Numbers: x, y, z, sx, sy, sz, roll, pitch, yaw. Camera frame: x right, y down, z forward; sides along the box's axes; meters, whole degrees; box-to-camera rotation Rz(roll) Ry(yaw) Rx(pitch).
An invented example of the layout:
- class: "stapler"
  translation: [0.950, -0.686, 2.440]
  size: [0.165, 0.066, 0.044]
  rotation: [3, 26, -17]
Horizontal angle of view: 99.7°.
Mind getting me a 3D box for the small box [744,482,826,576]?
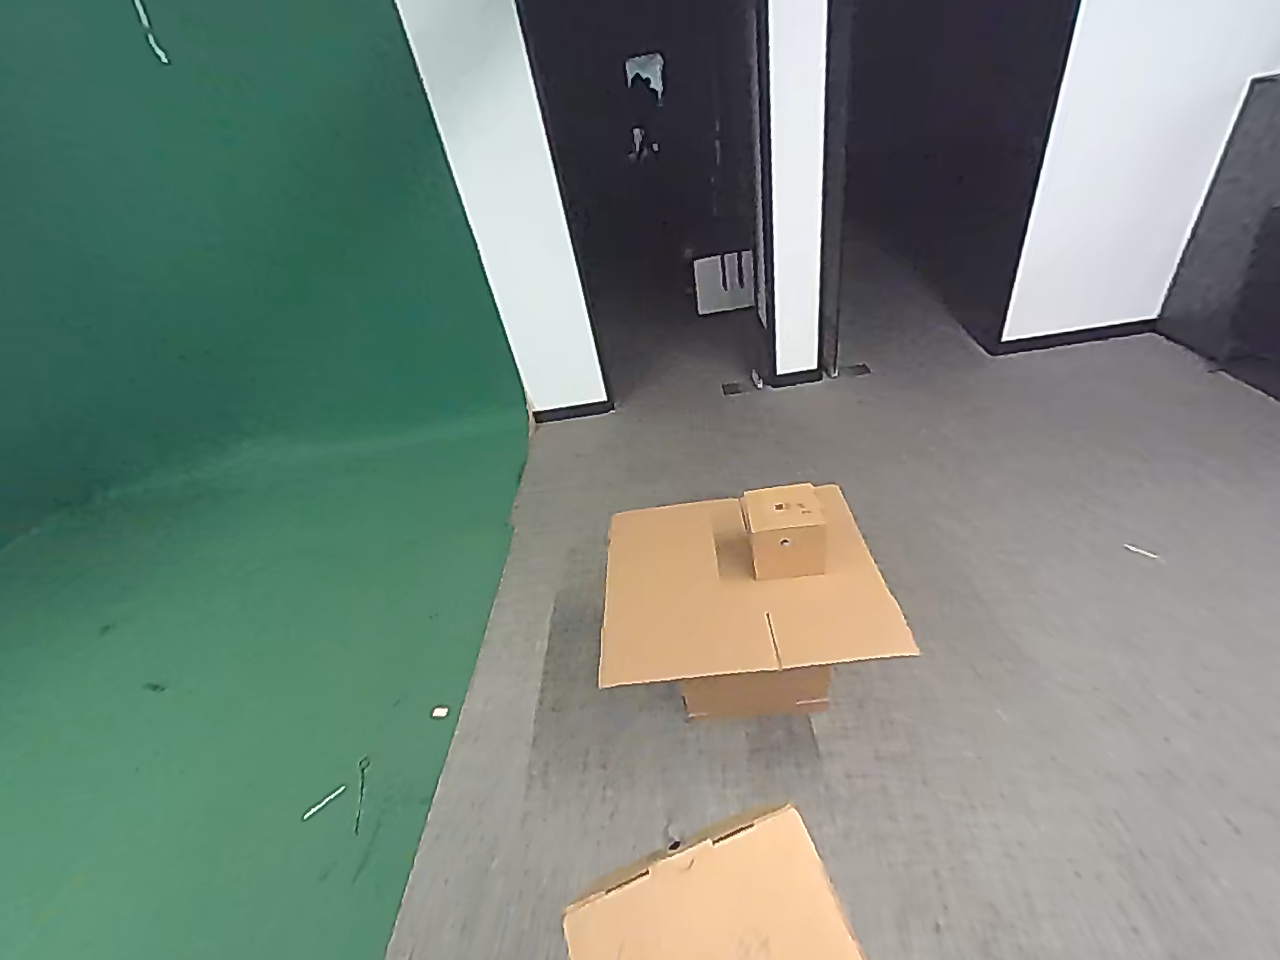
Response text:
- class: "small box"
  translation: [0.370, 0.129, 1.381]
  size: [0.179, 0.176, 0.168]
  rotation: [-8, 36, 9]
